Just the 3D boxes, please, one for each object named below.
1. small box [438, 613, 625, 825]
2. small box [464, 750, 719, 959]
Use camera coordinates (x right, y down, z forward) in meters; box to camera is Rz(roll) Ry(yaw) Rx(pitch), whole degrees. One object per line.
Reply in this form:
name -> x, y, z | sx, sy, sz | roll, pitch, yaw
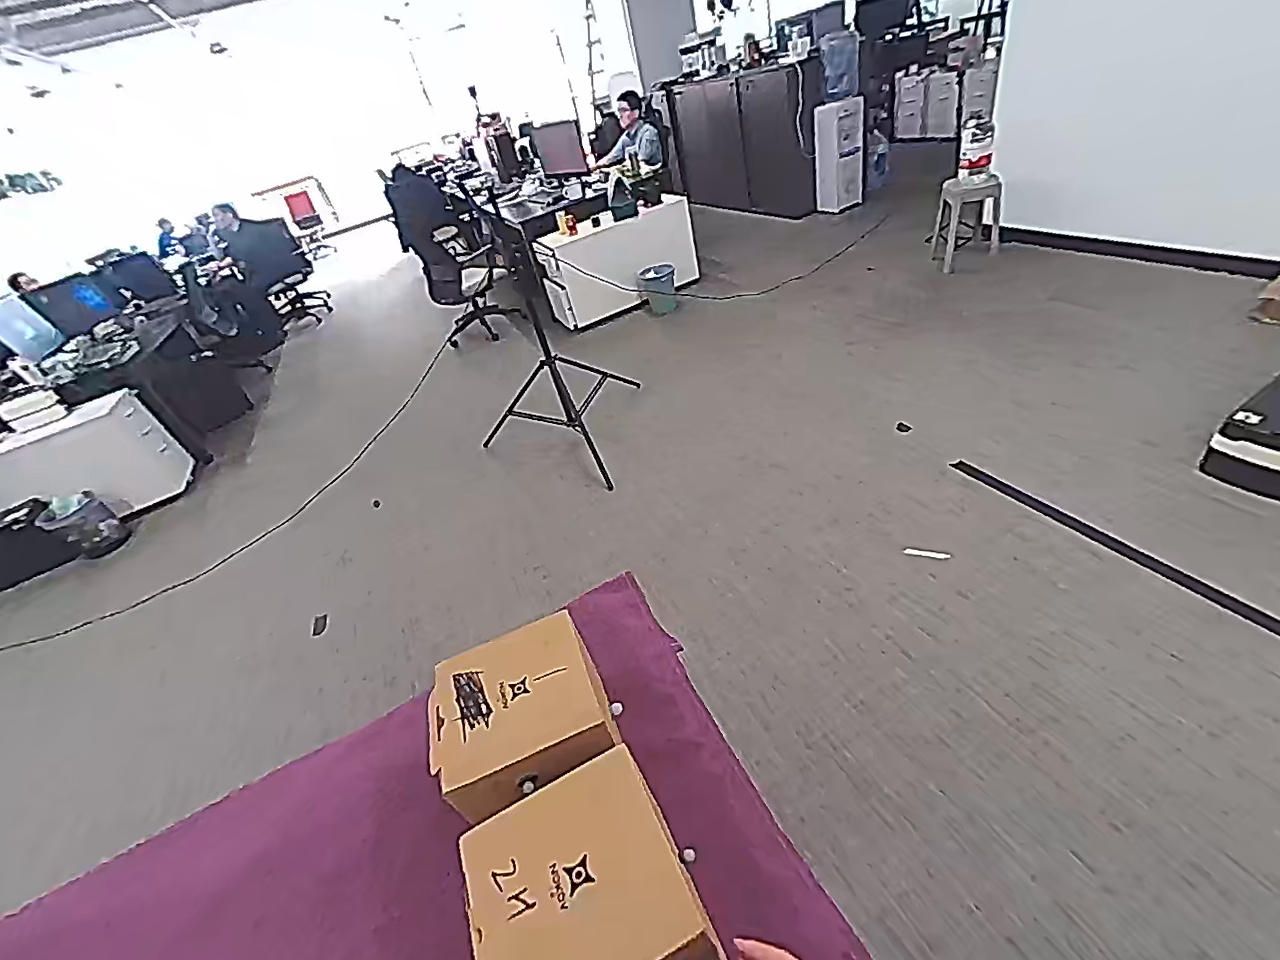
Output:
small box -> -0.127, 0.305, 0.663 | 0.179, 0.176, 0.168 | -22, 39, -9
small box -> -0.039, 0.400, 0.506 | 0.179, 0.176, 0.168 | -25, 39, -11
